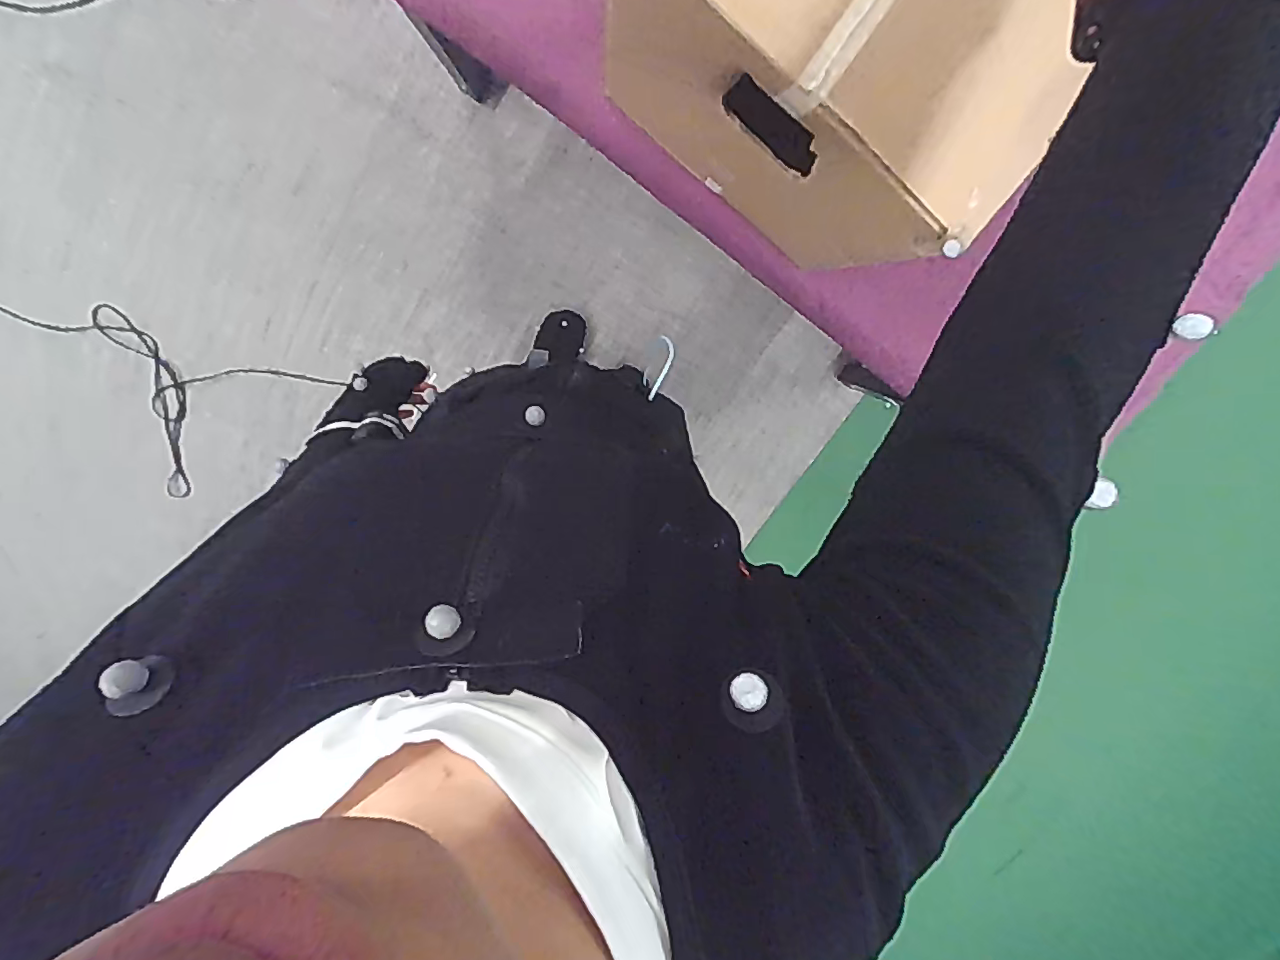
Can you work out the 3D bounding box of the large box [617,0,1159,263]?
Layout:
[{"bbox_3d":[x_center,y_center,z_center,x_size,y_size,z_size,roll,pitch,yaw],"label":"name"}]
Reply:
[{"bbox_3d":[0.218,-0.457,0.466,0.320,0.320,0.408,35,104,-14],"label":"large box"}]
